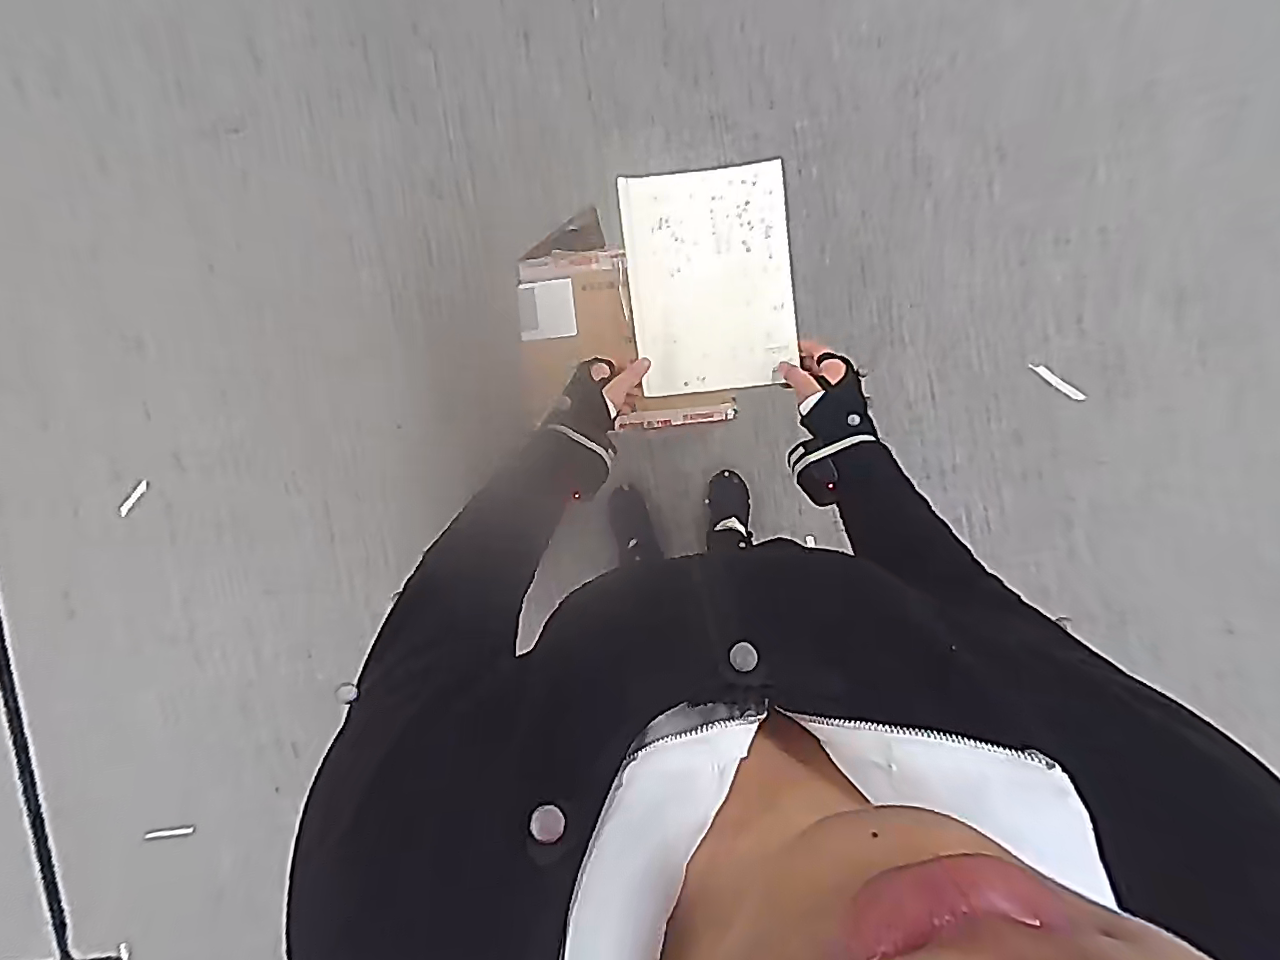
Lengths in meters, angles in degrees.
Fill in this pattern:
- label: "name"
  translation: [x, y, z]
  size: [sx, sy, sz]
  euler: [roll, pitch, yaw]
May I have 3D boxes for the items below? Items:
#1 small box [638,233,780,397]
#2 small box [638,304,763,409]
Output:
- label: "small box"
  translation: [0.089, -0.223, 0.771]
  size: [0.168, 0.176, 0.179]
  euler: [-9, 94, 2]
- label: "small box"
  translation: [0.098, -0.223, 0.933]
  size: [0.179, 0.176, 0.168]
  euler: [-11, 92, 3]
